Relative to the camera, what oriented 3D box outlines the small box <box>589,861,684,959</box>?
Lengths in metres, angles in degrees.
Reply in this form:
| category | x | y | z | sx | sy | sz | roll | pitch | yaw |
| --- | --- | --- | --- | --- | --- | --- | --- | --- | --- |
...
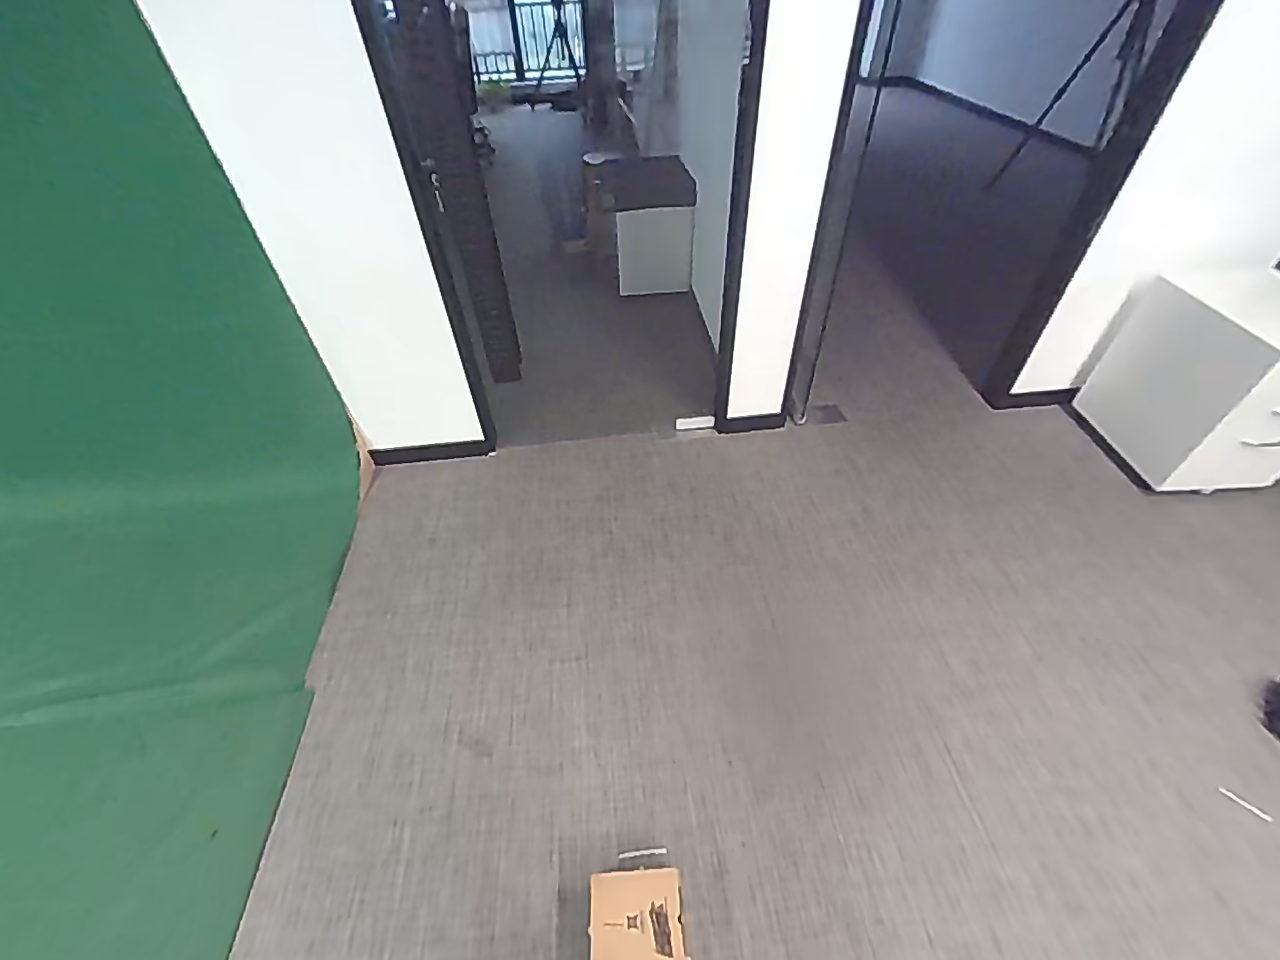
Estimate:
| category | x | y | z | sx | sy | sz | roll | pitch | yaw |
| --- | --- | --- | --- | --- | --- | --- | --- | --- | --- |
| small box | -0.008 | 0.884 | 1.086 | 0.179 | 0.176 | 0.168 | -4 | 45 | 0 |
